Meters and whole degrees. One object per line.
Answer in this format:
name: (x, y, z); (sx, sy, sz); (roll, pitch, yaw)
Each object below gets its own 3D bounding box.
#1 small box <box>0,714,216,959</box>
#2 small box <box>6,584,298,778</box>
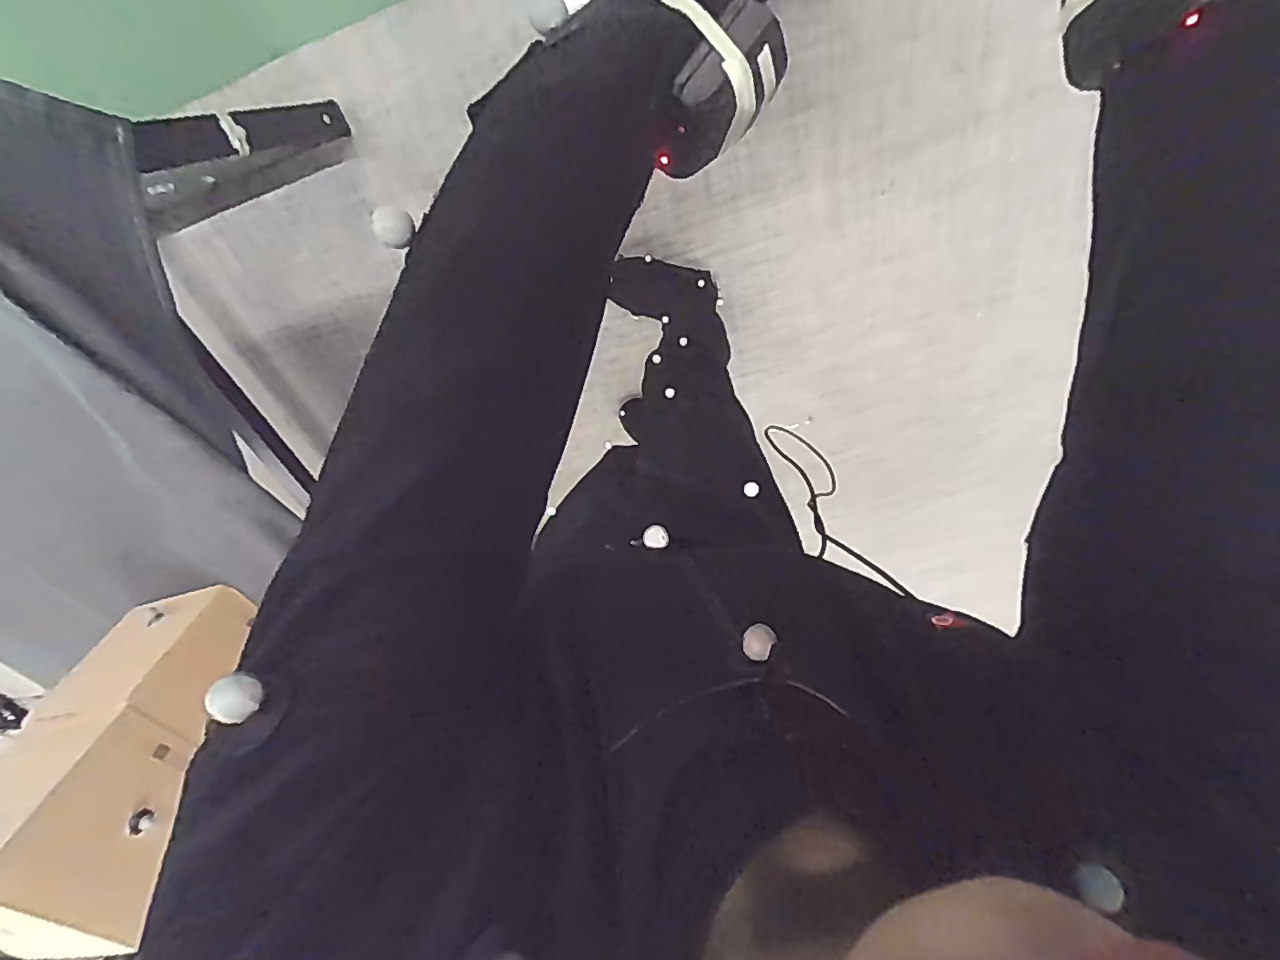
small box: (-0.591, 0.361, 0.552); (0.179, 0.176, 0.168); (-15, 124, 14)
small box: (-0.587, 0.256, 0.680); (0.179, 0.176, 0.168); (-15, 126, 15)
